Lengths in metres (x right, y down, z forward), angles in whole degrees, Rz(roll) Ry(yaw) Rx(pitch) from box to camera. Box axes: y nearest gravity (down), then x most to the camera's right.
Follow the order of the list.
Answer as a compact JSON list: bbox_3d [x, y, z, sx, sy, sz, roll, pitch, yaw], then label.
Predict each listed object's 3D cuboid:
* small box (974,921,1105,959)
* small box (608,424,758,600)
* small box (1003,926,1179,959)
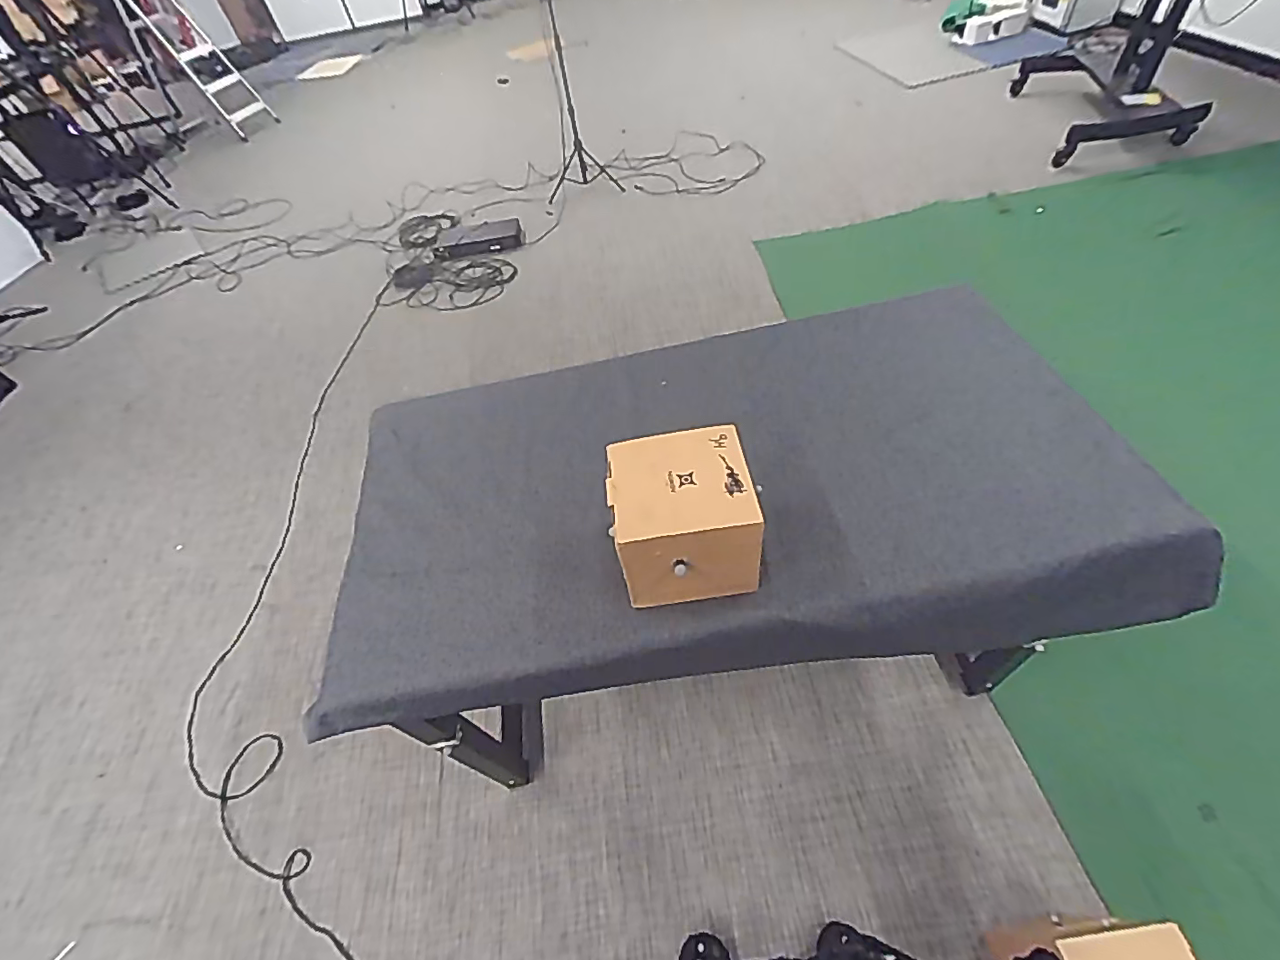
[{"bbox_3d":[0.719,0.871,0.924,0.179,0.176,0.168,-12,50,1],"label":"small box"},{"bbox_3d":[0.058,0.050,0.740,0.179,0.176,0.168,-8,50,3],"label":"small box"},{"bbox_3d":[0.688,0.772,0.796,0.179,0.176,0.168,-9,50,2],"label":"small box"}]
